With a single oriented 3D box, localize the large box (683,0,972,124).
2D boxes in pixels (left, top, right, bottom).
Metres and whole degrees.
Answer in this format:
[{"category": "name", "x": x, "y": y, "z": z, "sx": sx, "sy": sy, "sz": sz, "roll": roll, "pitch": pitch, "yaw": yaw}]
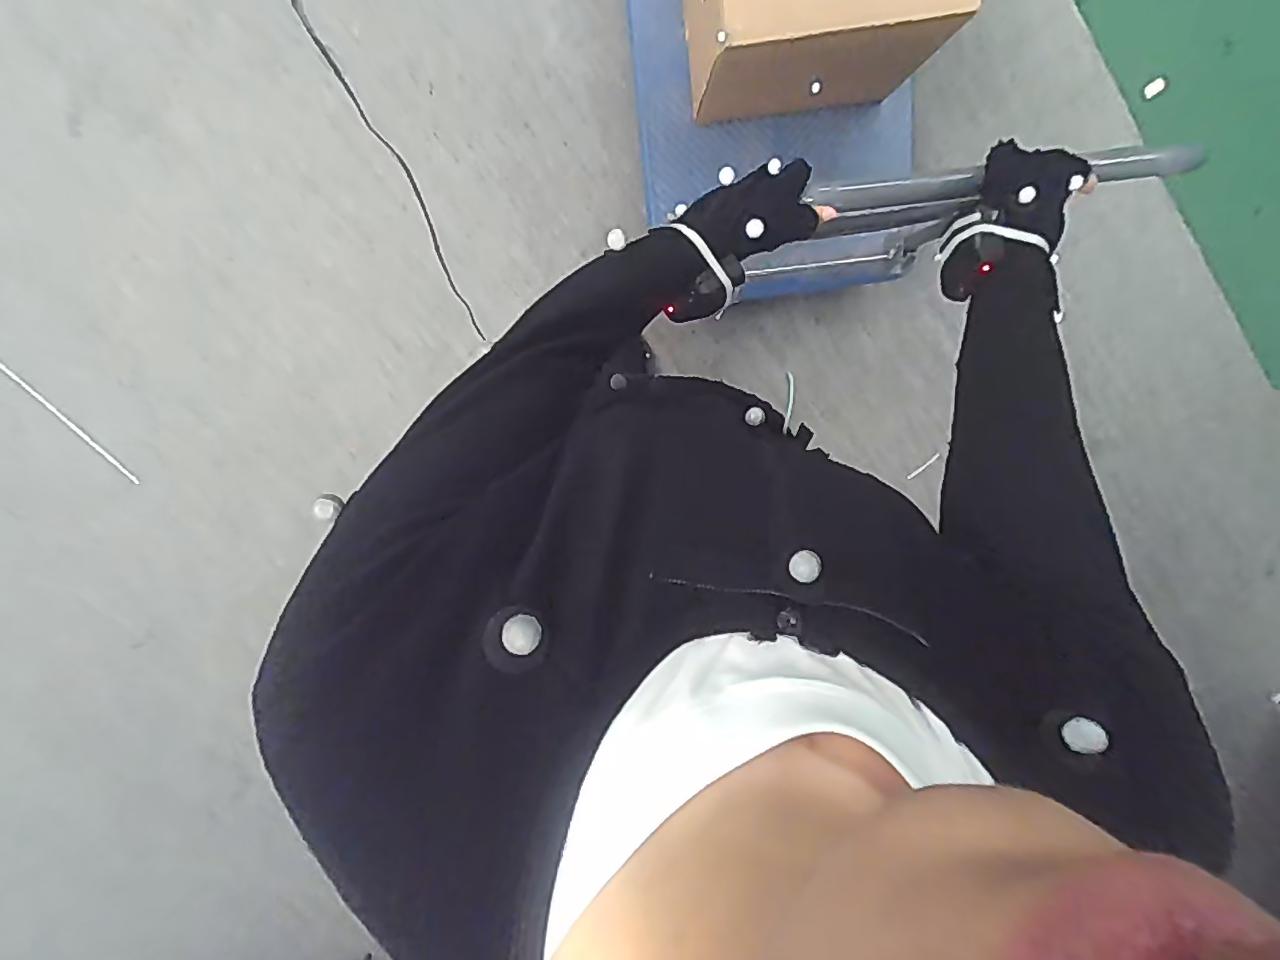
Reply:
[{"category": "large box", "x": 0.298, "y": -0.883, "z": 0.954, "sx": 0.408, "sy": 0.320, "sz": 0.320, "roll": -9, "pitch": 103, "yaw": 0}]
